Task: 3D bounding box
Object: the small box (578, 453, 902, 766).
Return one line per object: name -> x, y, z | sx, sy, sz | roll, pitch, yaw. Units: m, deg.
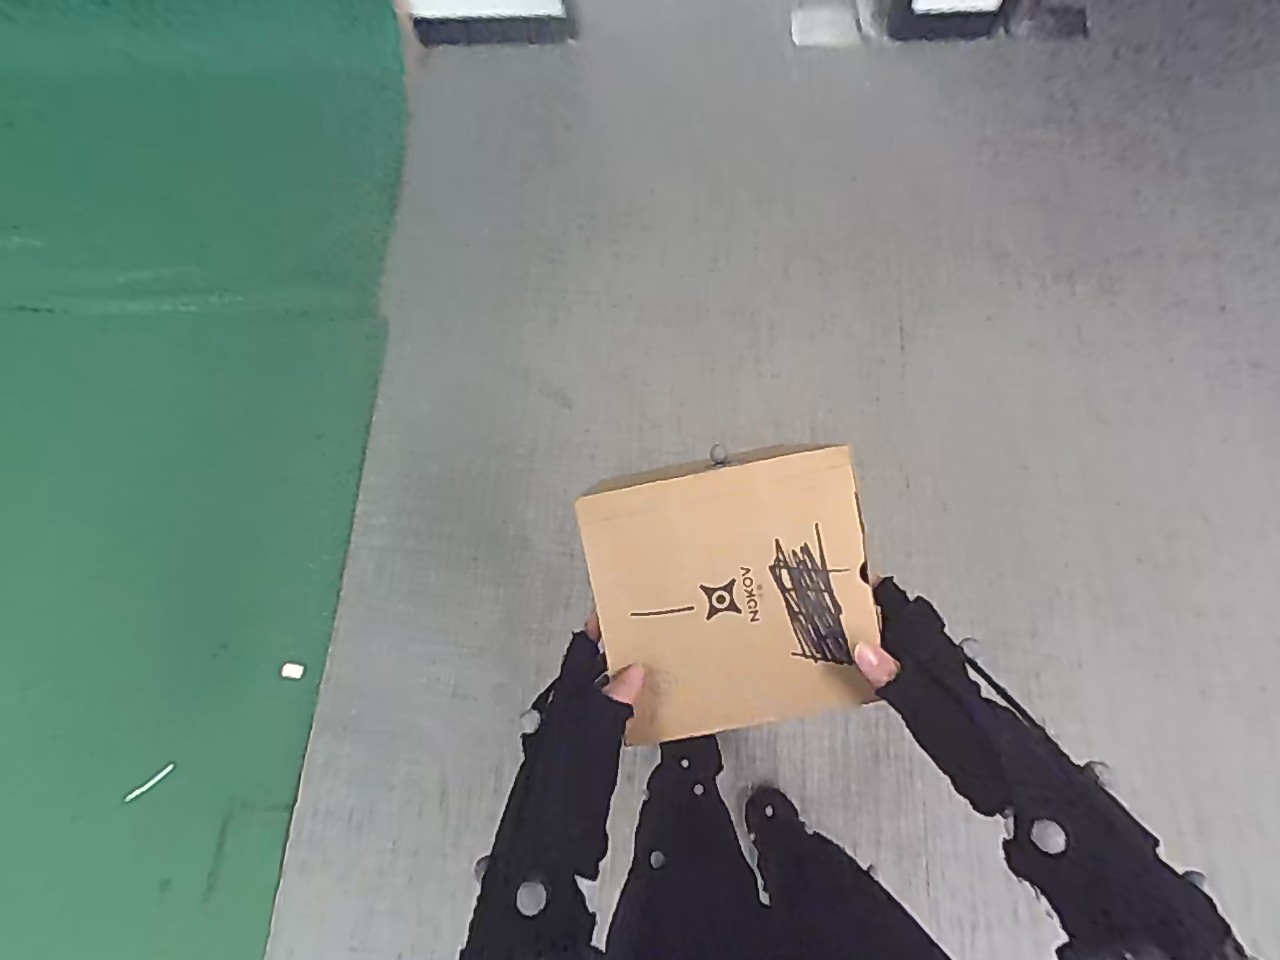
small box -> 0.062, 0.077, 0.418 | 0.179, 0.176, 0.168 | -16, 93, 0
